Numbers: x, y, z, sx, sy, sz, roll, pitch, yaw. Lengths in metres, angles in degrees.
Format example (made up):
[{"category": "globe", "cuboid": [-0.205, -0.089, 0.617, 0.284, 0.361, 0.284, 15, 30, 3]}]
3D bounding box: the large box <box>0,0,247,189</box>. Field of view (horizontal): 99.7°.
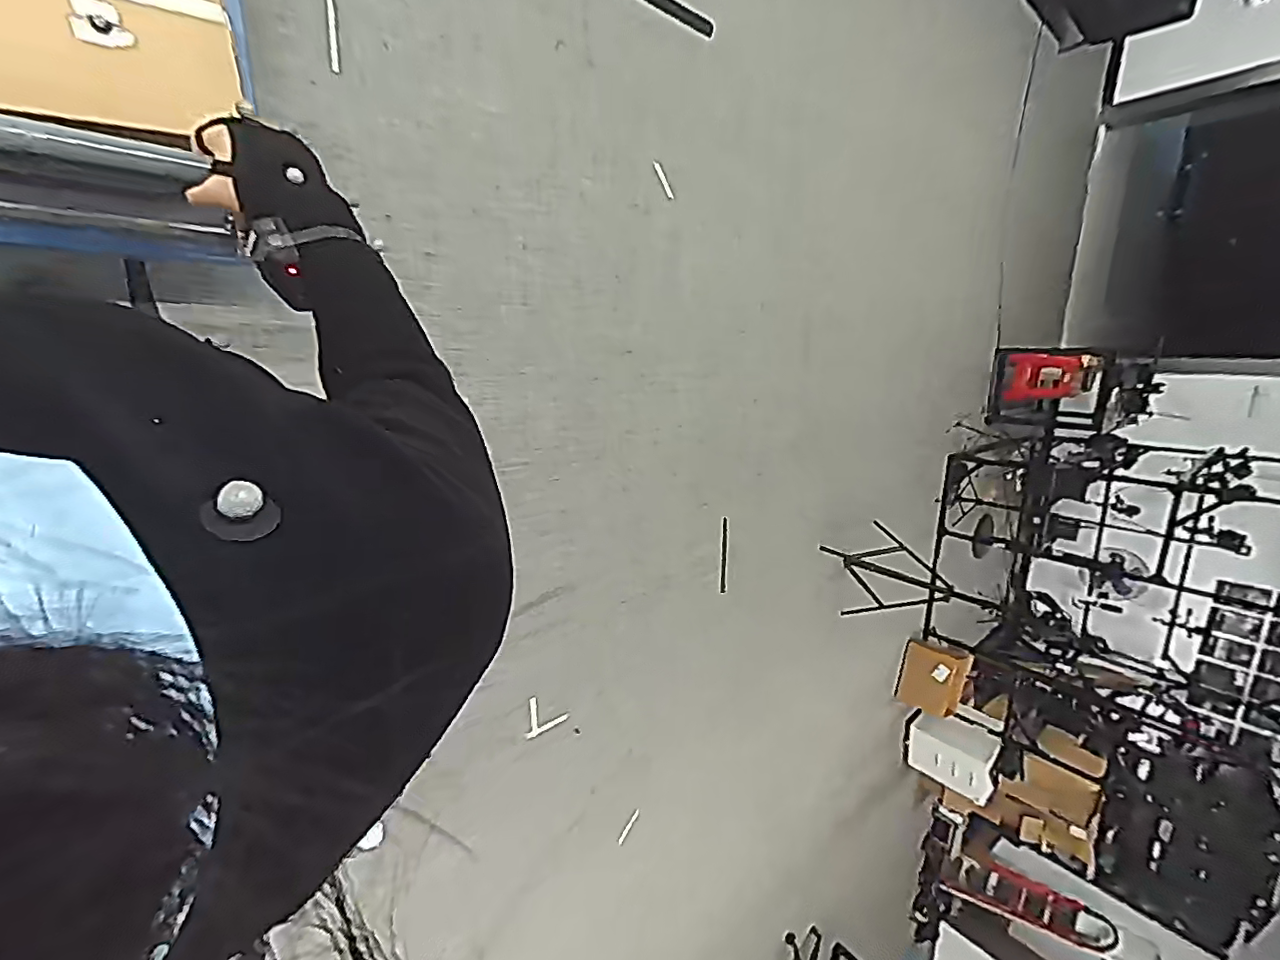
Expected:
[{"category": "large box", "cuboid": [-0.830, -0.616, 0.734, 0.408, 0.320, 0.320, -16, 111, -40]}]
